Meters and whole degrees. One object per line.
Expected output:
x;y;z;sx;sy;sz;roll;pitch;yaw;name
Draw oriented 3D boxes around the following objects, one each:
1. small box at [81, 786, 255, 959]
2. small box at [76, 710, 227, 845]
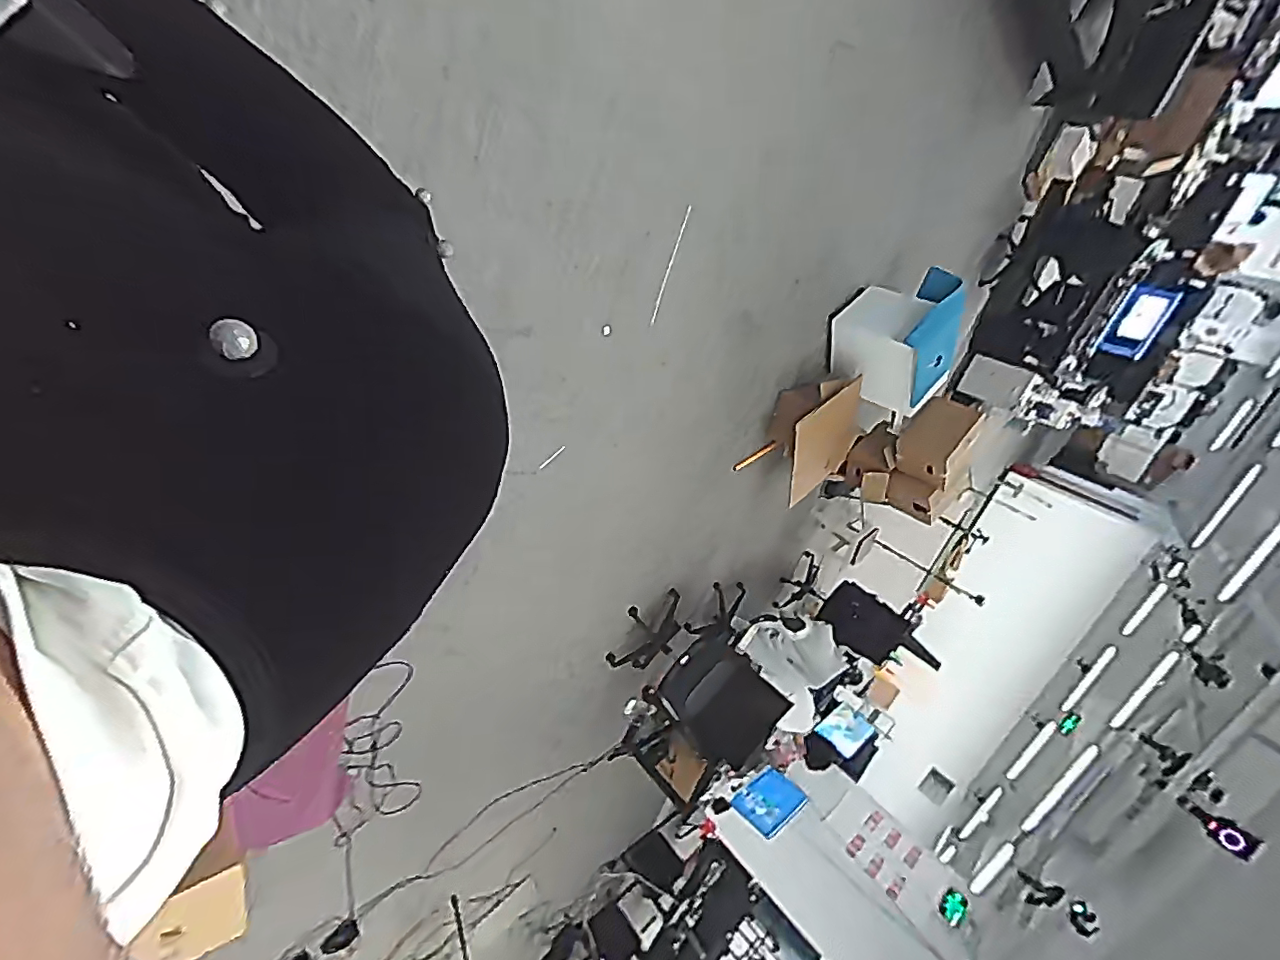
-0.673;0.581;0.777;0.168;0.176;0.179;-9;124;-44;small box
-0.787;0.518;0.881;0.168;0.176;0.179;-11;127;-44;small box
